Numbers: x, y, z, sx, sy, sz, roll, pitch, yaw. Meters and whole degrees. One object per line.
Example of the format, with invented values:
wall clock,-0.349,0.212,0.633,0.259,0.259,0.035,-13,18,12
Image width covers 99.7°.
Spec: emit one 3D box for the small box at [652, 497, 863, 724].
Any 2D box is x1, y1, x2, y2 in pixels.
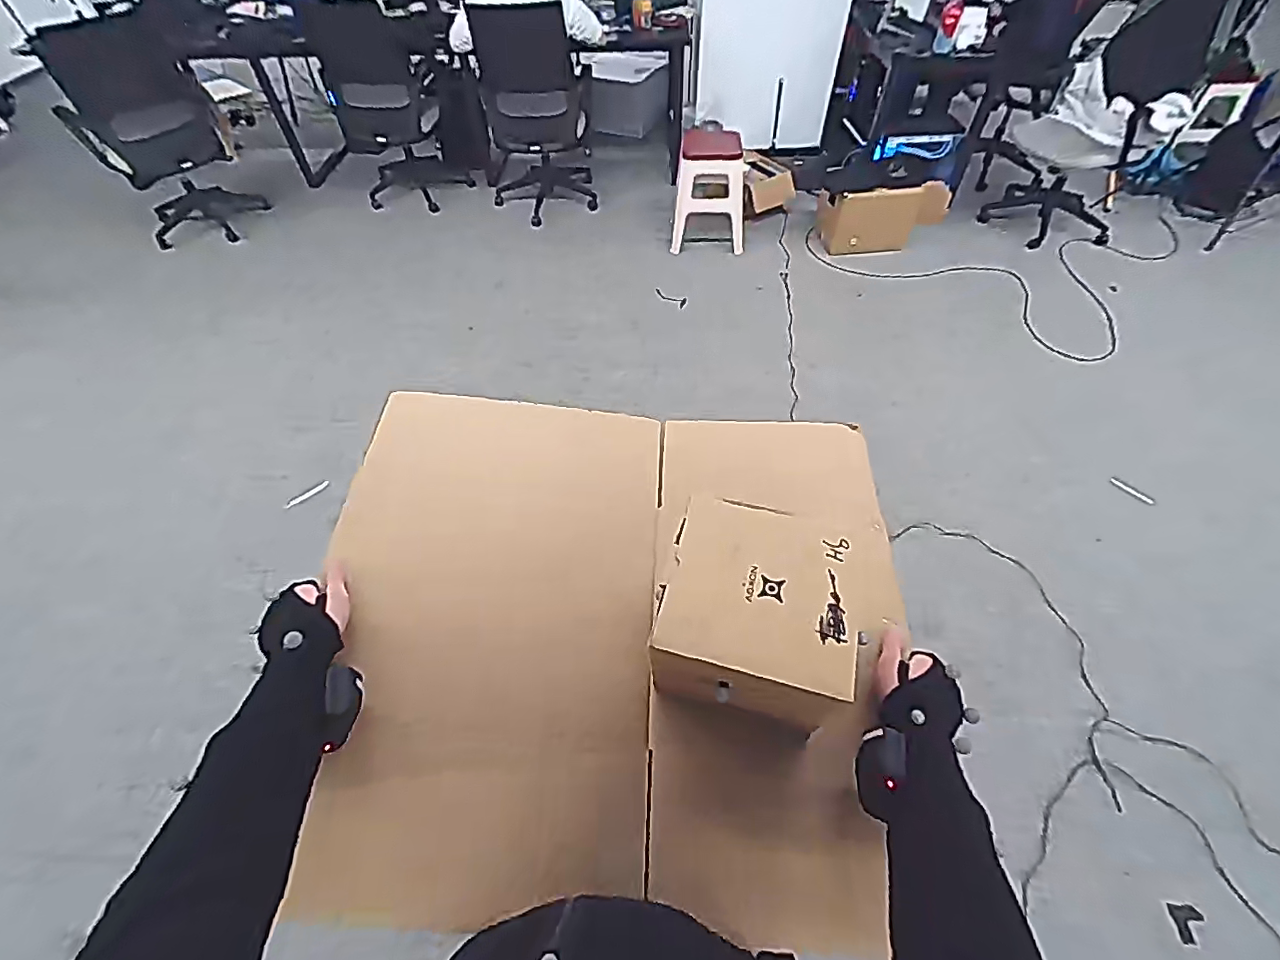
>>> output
small box,0.121,0.143,0.575,0.179,0.176,0.168,11,58,12
